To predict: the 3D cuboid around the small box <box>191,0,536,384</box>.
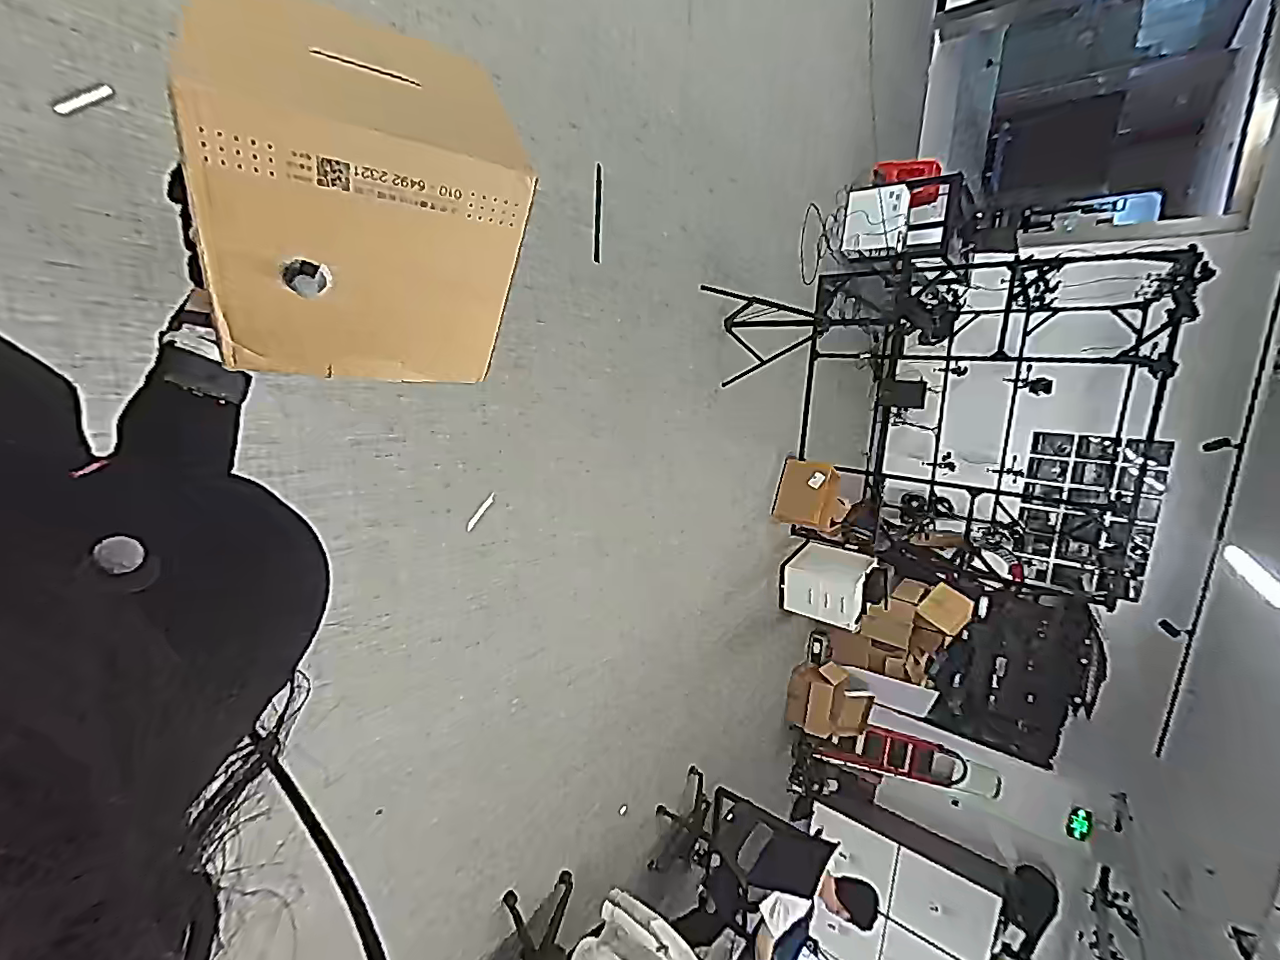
[{"bbox_3d":[-0.182,-0.189,0.363,0.168,0.179,0.176,-1,142,-33],"label":"small box"}]
